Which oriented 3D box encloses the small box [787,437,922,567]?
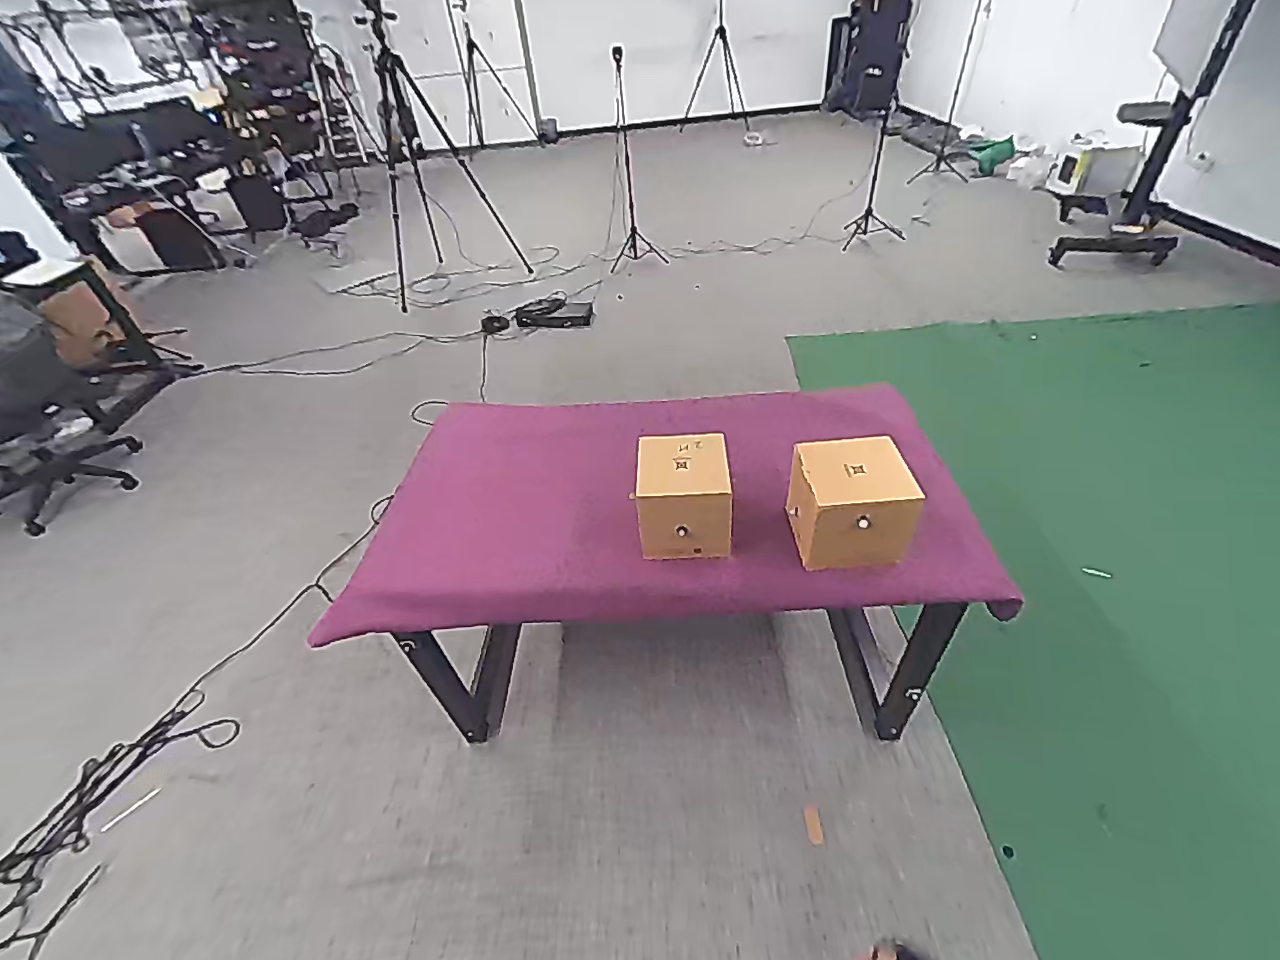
[{"bbox_3d":[0.380,0.042,0.992,0.179,0.176,0.168,-5,42,3],"label":"small box"}]

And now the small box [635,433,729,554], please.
[{"bbox_3d":[0.085,0.031,1.043,0.168,0.176,0.179,-2,40,5],"label":"small box"}]
